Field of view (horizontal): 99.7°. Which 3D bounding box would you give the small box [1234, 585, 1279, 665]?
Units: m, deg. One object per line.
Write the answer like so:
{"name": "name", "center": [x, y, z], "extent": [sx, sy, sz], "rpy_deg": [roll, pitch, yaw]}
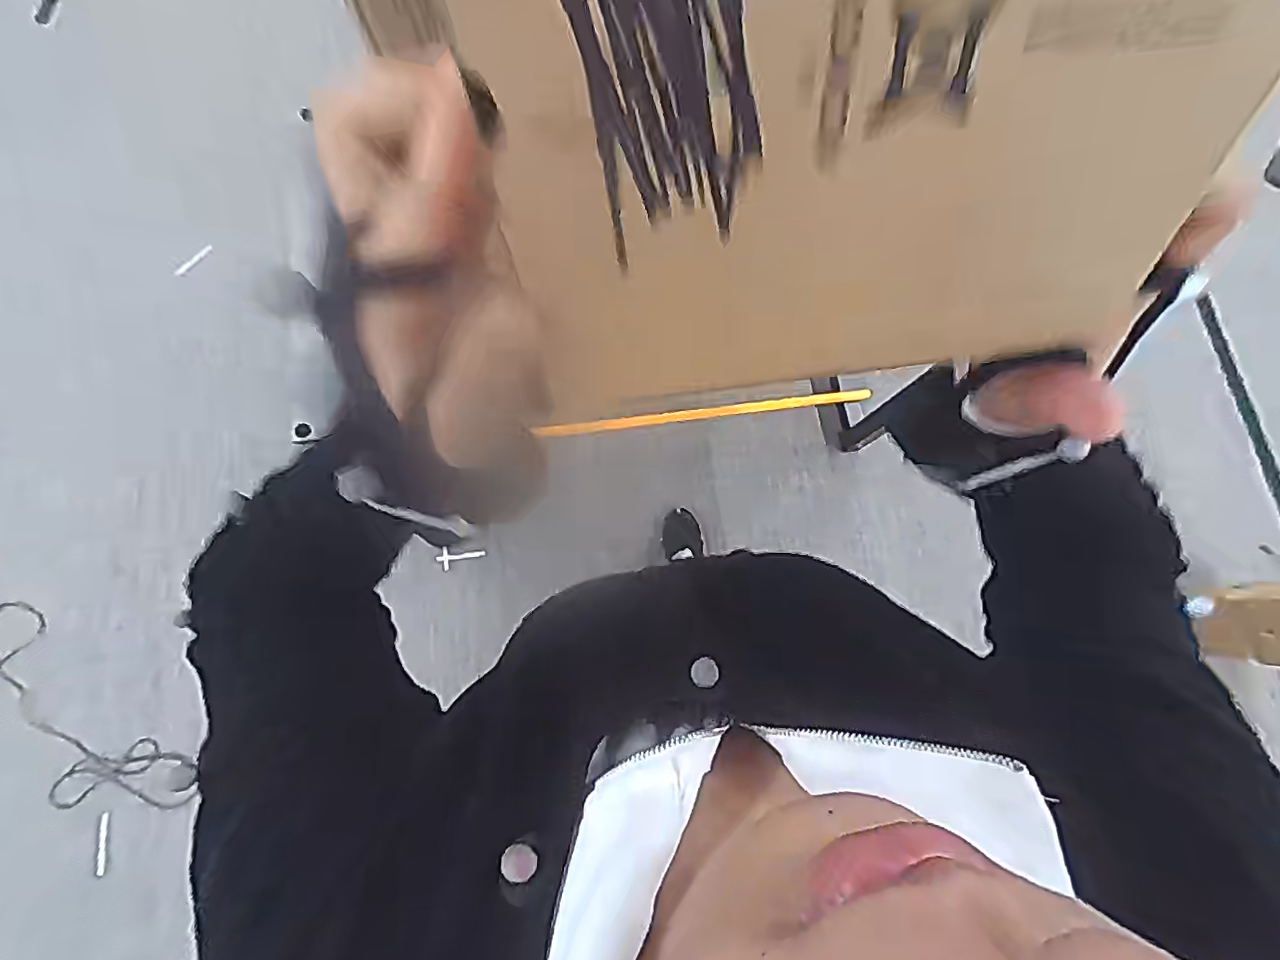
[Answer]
{"name": "small box", "center": [1.585, 0.335, 1.264], "extent": [0.179, 0.176, 0.168], "rpy_deg": [-15, 77, -4]}

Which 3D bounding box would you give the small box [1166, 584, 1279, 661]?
{"name": "small box", "center": [1.568, 0.369, 1.425], "extent": [0.179, 0.176, 0.168], "rpy_deg": [-11, 77, -2]}

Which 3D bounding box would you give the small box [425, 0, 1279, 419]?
{"name": "small box", "center": [0.044, -0.142, 0.164], "extent": [0.179, 0.168, 0.176], "rpy_deg": [-6, 51, 0]}
